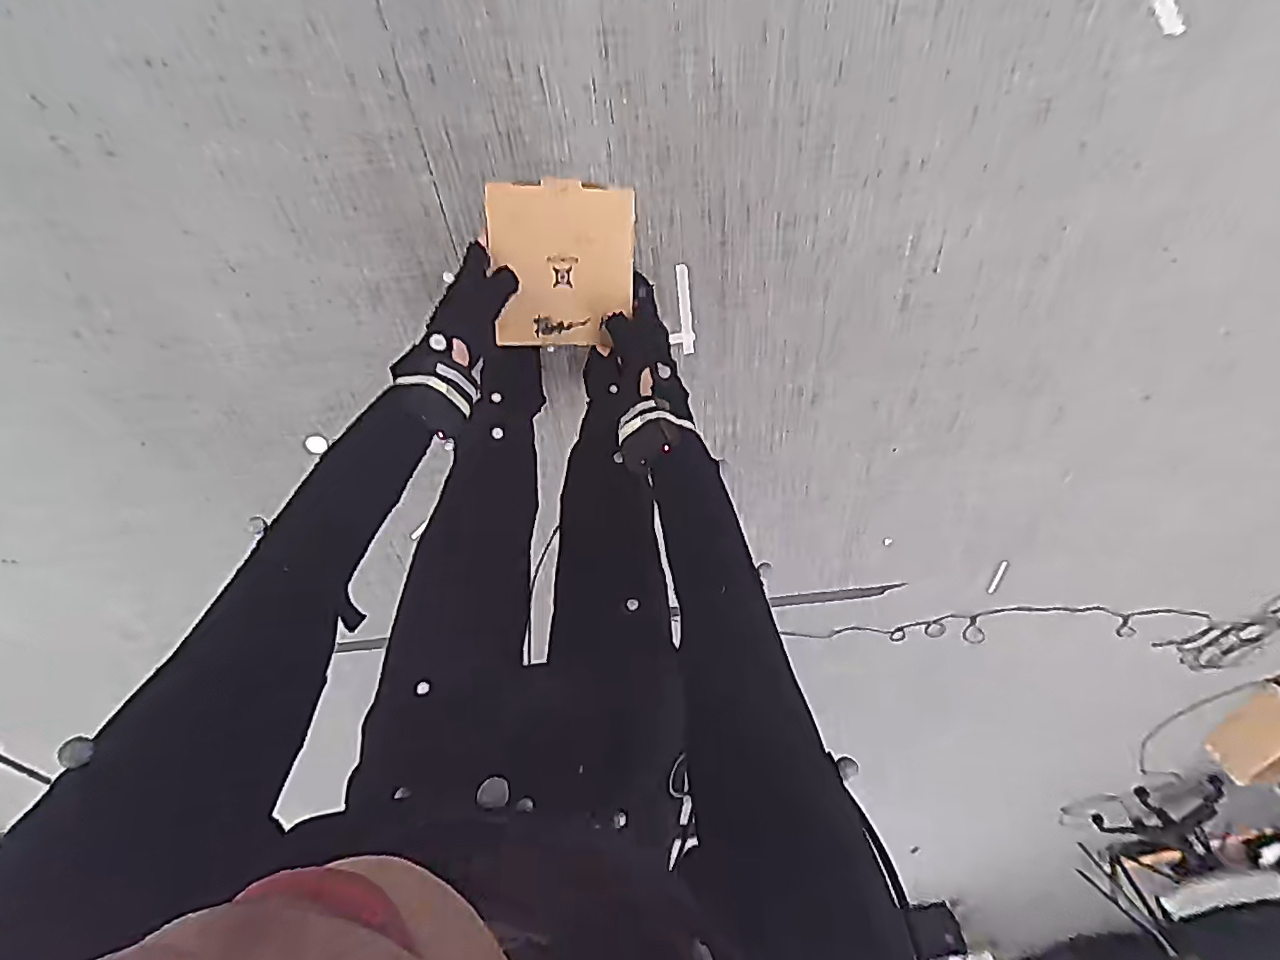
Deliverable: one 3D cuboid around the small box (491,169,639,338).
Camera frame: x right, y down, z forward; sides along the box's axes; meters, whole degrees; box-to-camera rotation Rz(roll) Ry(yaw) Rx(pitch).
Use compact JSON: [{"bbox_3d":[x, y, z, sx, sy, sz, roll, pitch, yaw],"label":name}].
[{"bbox_3d":[-0.100,-0.285,0.694,0.168,0.176,0.179,-2,115,-10],"label":"small box"}]
